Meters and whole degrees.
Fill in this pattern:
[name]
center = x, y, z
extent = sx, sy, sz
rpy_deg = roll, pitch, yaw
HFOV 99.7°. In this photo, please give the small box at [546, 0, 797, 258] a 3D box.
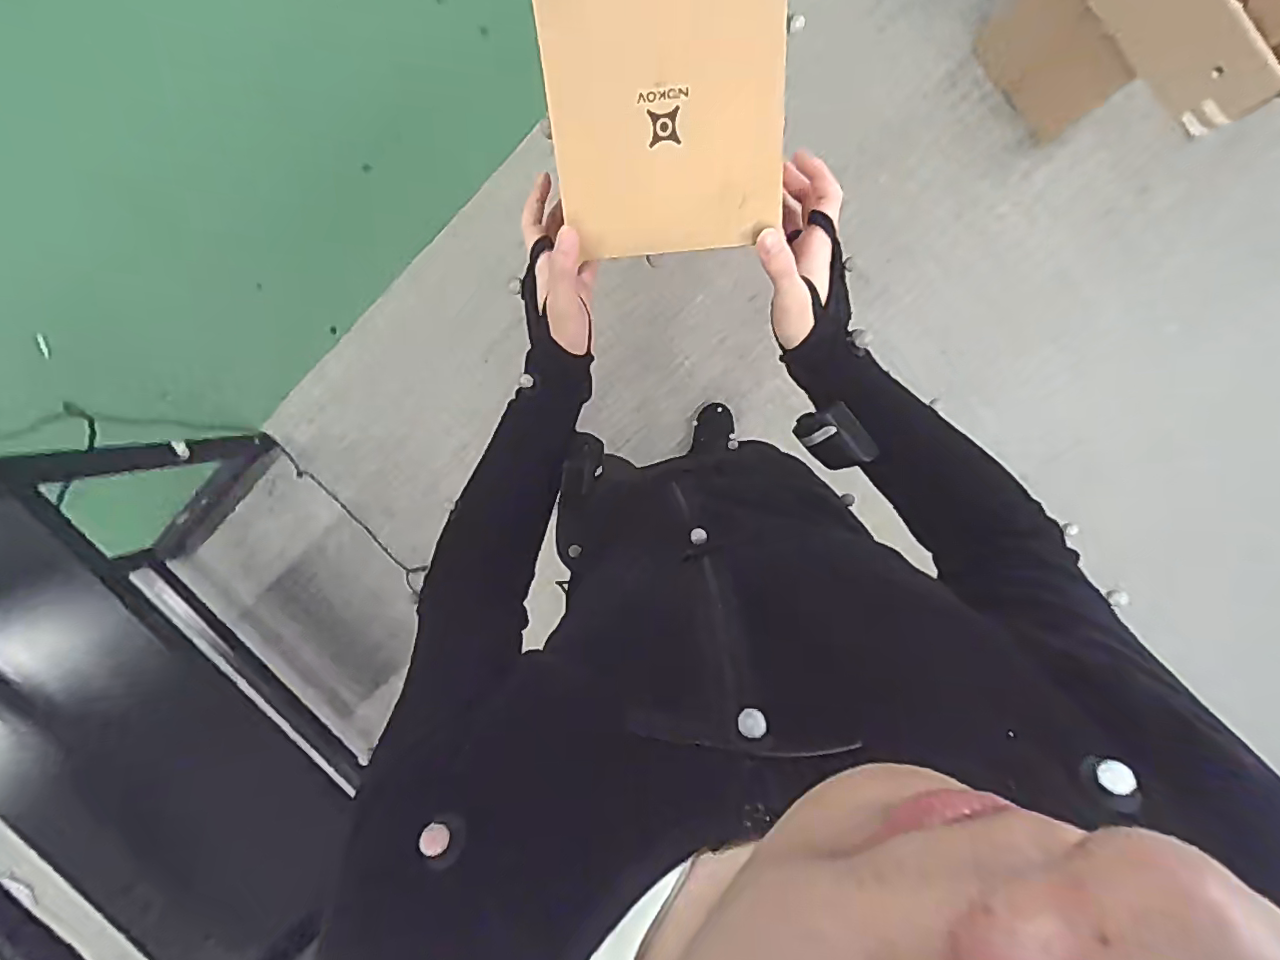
[small box]
center = 0.035, -0.290, 0.448
extent = 0.168, 0.176, 0.179
rpy_deg = 0, 116, 9
